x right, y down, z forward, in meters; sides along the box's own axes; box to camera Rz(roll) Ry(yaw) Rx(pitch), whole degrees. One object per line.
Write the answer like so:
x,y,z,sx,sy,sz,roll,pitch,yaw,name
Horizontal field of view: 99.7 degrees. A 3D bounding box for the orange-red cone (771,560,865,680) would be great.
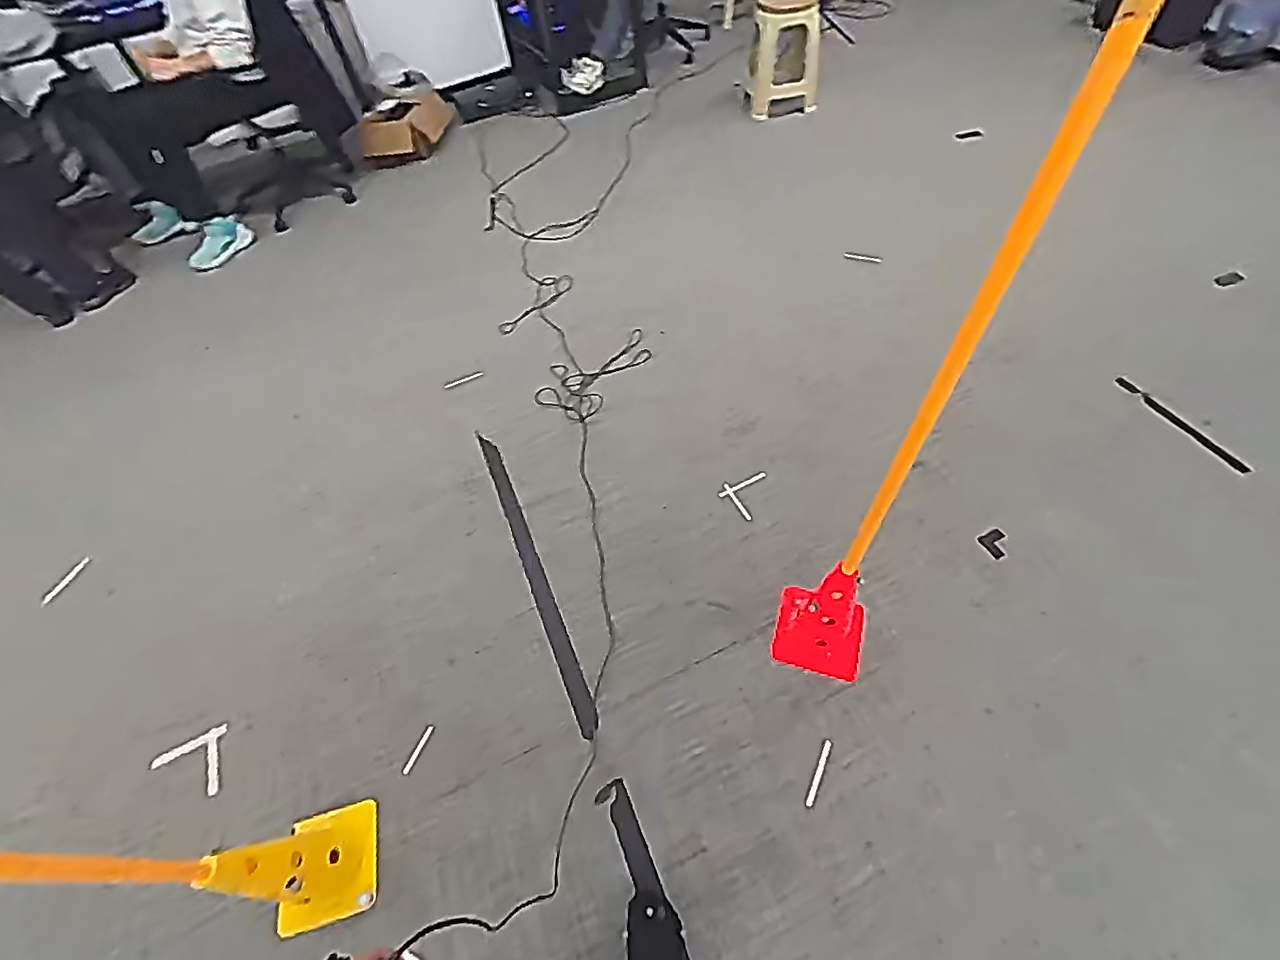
0.412,0.269,1.168,0.198,0.360,0.199,14,59,17,orange-red cone
